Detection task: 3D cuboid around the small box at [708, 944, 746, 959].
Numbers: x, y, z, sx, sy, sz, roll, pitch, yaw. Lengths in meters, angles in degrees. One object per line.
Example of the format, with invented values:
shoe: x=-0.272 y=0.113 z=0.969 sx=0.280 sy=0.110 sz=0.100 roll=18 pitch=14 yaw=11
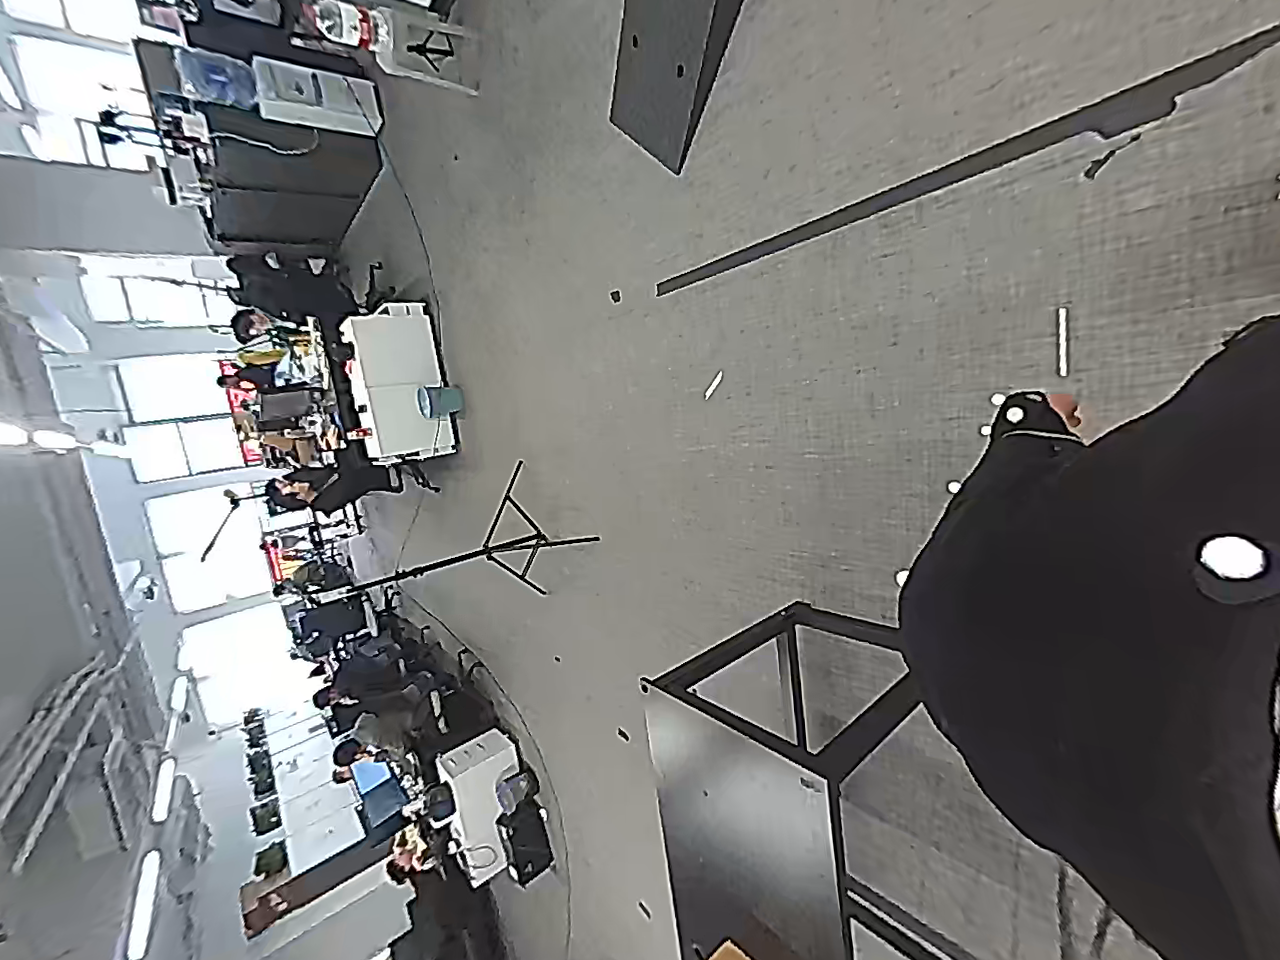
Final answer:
small box: x=0.229 y=1.332 z=1.352 sx=0.179 sy=0.176 sz=0.168 roll=3 pitch=103 yaw=53
